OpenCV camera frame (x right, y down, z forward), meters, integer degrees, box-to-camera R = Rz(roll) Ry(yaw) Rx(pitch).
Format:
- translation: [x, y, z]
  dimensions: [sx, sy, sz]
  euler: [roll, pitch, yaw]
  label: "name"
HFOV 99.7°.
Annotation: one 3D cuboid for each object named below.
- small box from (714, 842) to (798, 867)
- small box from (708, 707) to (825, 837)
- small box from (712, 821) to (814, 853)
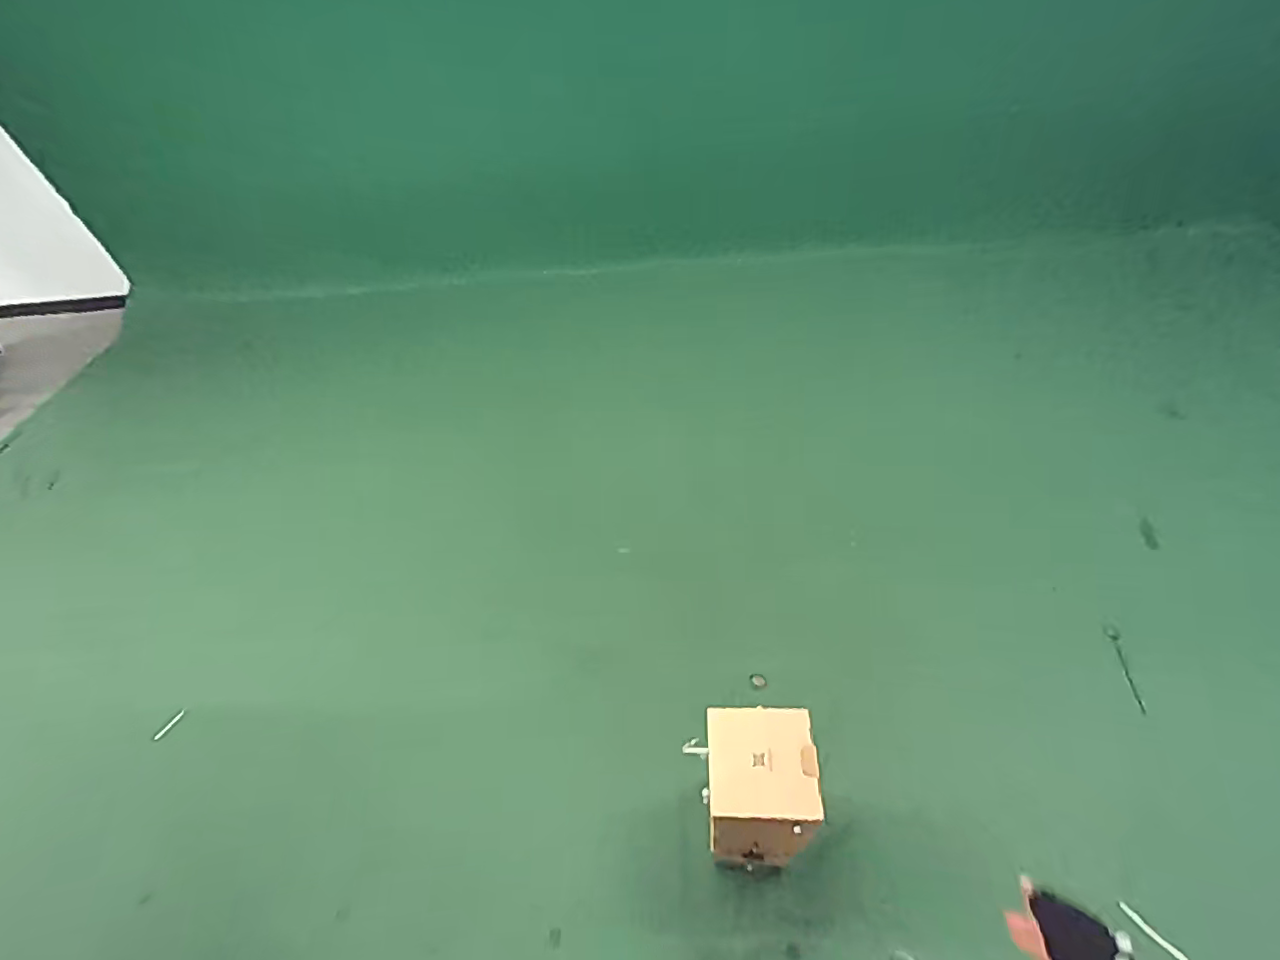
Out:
- translation: [0.244, 0.726, 1.182]
  dimensions: [0.168, 0.176, 0.179]
  euler: [-2, 49, 7]
  label: "small box"
- translation: [0.210, 0.509, 0.940]
  dimensions: [0.179, 0.176, 0.168]
  euler: [-2, 49, 6]
  label: "small box"
- translation: [0.231, 0.615, 1.059]
  dimensions: [0.179, 0.176, 0.168]
  euler: [1, 47, 8]
  label: "small box"
